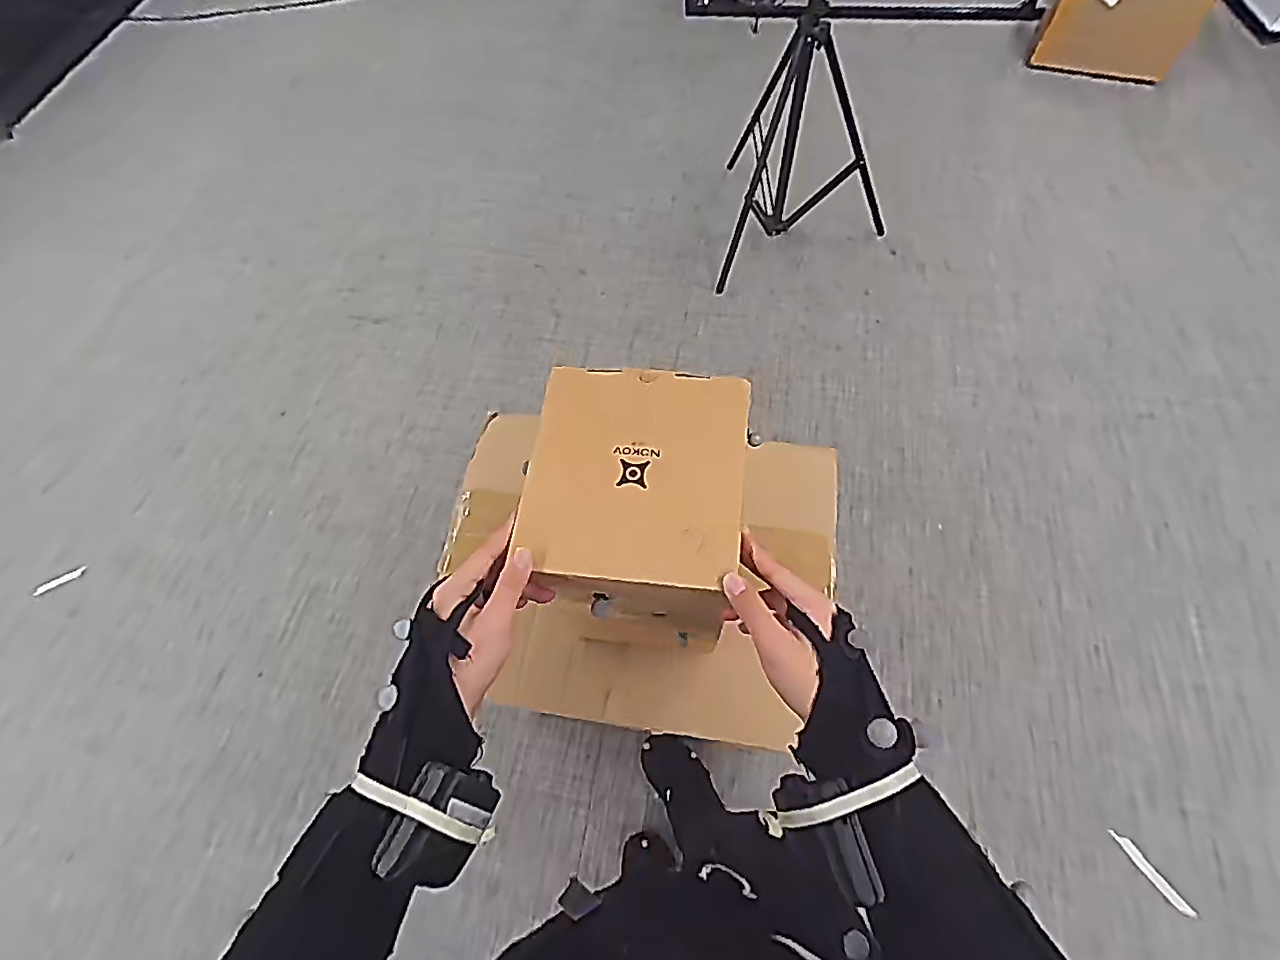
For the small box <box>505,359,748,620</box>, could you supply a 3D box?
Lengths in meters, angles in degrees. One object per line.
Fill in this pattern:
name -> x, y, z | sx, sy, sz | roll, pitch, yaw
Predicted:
small box -> 0.002, 0.017, 0.473 | 0.168, 0.176, 0.179 | 4, 66, 7
